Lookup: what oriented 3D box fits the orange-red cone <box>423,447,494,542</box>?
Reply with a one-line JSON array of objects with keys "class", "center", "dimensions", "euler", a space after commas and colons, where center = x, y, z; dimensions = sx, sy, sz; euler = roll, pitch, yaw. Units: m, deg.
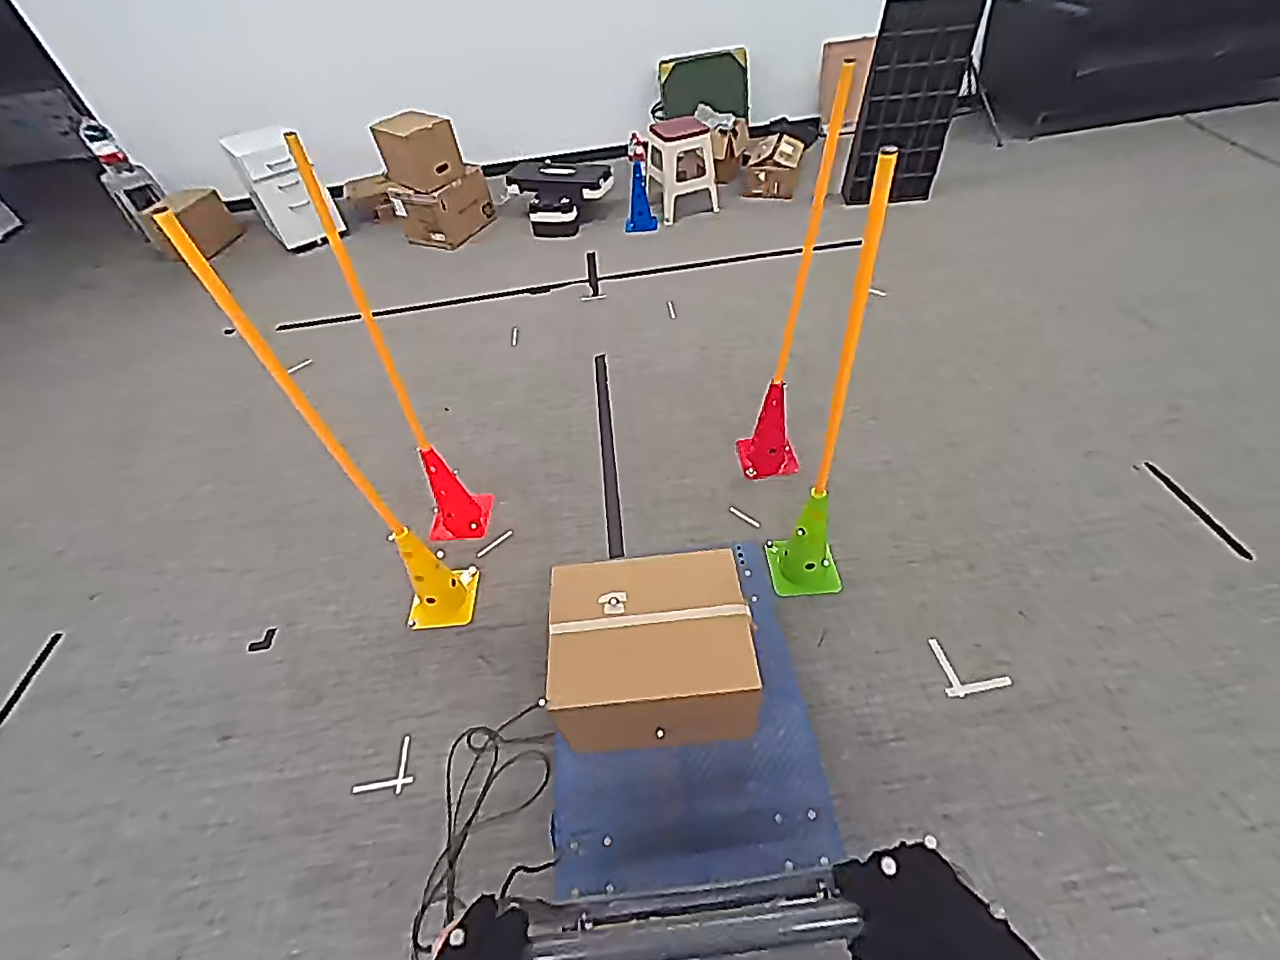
[{"class": "orange-red cone", "center": [-0.652, 0.027, 1.828], "dimensions": [0.198, 0.360, 0.199], "euler": [-2, 47, 4]}]

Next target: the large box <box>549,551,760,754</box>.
[{"class": "large box", "center": [0.032, 0.393, 1.212], "dimensions": [0.408, 0.320, 0.320], "euler": [-7, 48, 2]}]

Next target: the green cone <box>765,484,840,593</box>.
[{"class": "green cone", "center": [0.491, 0.149, 1.565], "dimensions": [0.202, 0.368, 0.200], "euler": [-5, 48, 1]}]

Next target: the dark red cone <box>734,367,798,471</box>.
[{"class": "dark red cone", "center": [0.454, -0.220, 1.879], "dimensions": [0.201, 0.394, 0.202], "euler": [-7, 48, -2]}]
